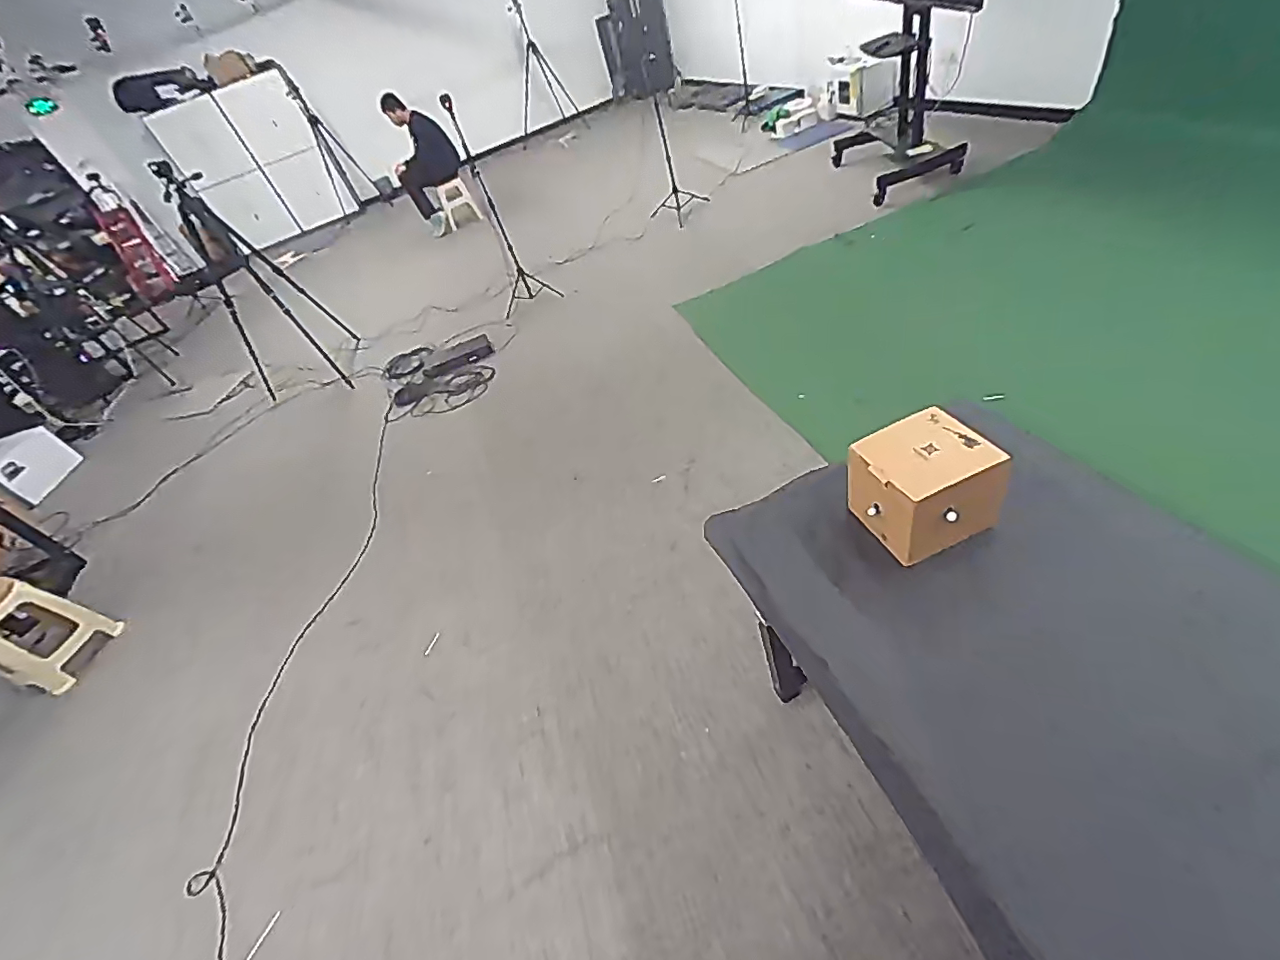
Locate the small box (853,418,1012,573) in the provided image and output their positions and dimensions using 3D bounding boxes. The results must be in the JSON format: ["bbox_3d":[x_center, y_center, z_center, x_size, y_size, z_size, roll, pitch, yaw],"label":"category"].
[{"bbox_3d":[0.496,0.030,0.937,0.179,0.176,0.168,-25,42,-4],"label":"small box"}]
